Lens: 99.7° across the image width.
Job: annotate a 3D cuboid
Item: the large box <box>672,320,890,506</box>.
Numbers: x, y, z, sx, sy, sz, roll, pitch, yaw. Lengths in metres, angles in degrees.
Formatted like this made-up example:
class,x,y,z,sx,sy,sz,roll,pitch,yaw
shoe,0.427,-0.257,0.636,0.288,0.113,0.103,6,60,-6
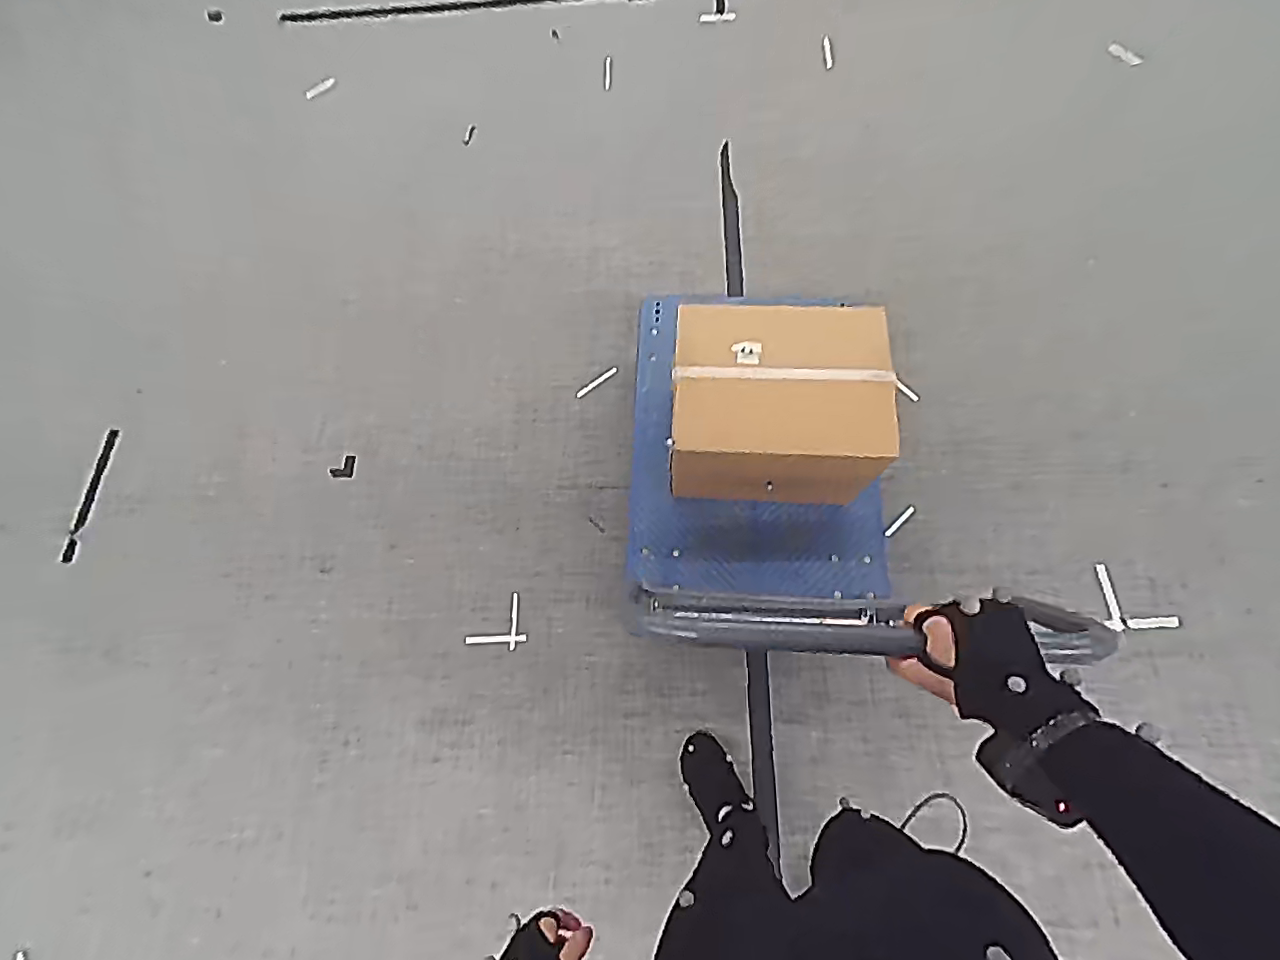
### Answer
class,x,y,z,sx,sy,sz,roll,pitch,yaw
large box,0.275,-0.129,1.182,0.408,0.320,0.320,1,71,5
